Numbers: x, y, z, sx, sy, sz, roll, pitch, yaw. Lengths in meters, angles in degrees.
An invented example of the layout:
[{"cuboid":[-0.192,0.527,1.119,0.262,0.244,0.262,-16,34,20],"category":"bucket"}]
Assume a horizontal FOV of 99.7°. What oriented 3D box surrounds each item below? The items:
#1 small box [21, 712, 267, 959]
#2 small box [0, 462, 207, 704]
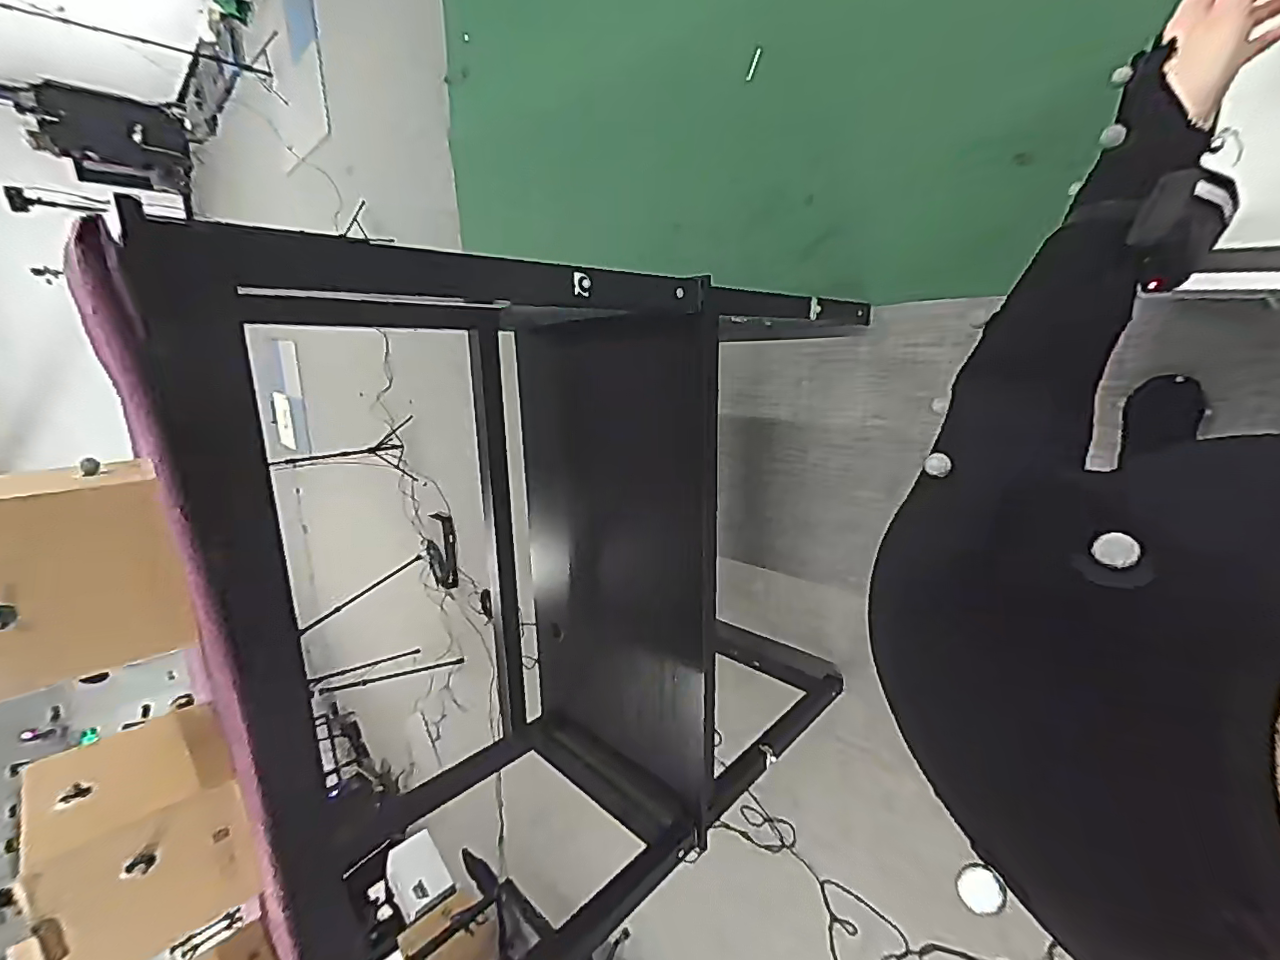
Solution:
[{"cuboid":[-0.534,0.394,0.599,0.179,0.176,0.168,15,110,43],"category":"small box"},{"cuboid":[-0.554,0.089,0.534,0.168,0.176,0.179,11,109,46],"category":"small box"}]
